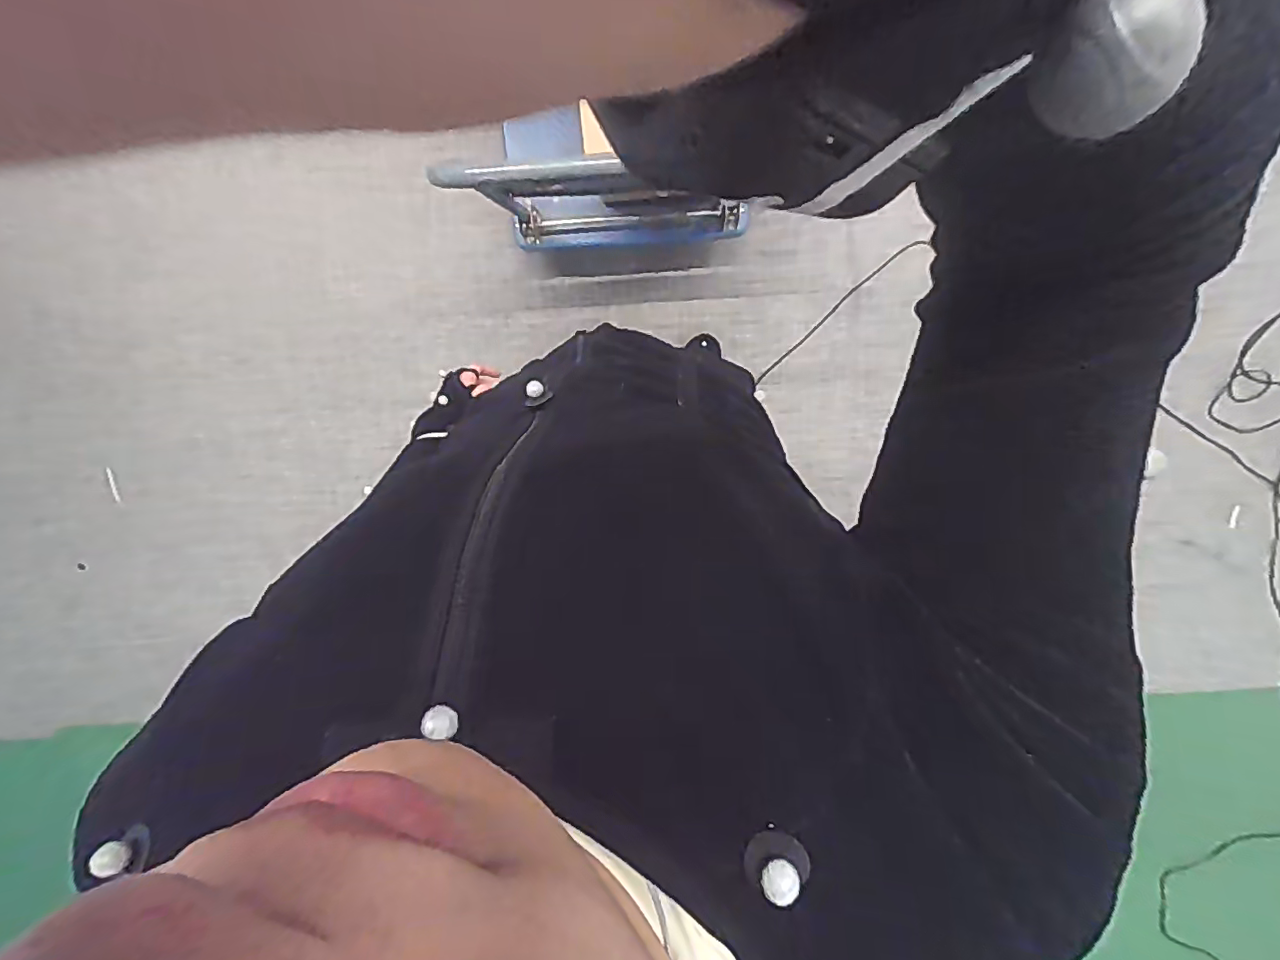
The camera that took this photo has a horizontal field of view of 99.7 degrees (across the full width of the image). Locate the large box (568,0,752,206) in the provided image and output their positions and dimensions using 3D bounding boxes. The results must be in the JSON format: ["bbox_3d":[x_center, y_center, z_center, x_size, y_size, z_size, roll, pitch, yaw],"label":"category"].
[{"bbox_3d":[0.040,-0.821,1.094,0.320,0.320,0.408,-4,104,2],"label":"large box"}]
